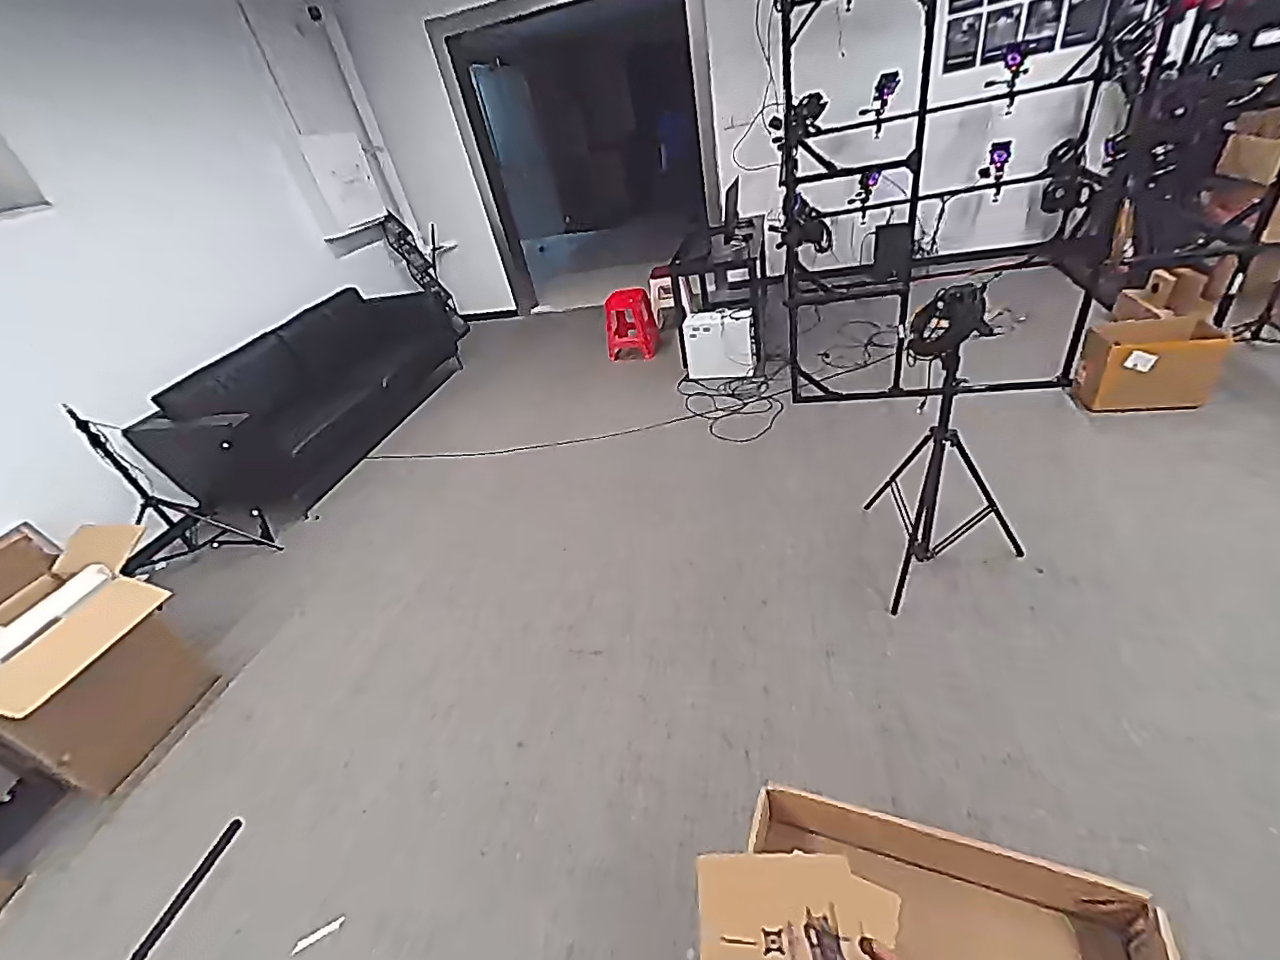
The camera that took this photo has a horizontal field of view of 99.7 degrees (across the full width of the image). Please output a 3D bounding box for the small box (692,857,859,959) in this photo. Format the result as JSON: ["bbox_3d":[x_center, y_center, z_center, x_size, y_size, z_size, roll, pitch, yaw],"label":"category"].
[{"bbox_3d":[0.150,0.561,0.626,0.179,0.176,0.168,-3,39,5],"label":"small box"}]
